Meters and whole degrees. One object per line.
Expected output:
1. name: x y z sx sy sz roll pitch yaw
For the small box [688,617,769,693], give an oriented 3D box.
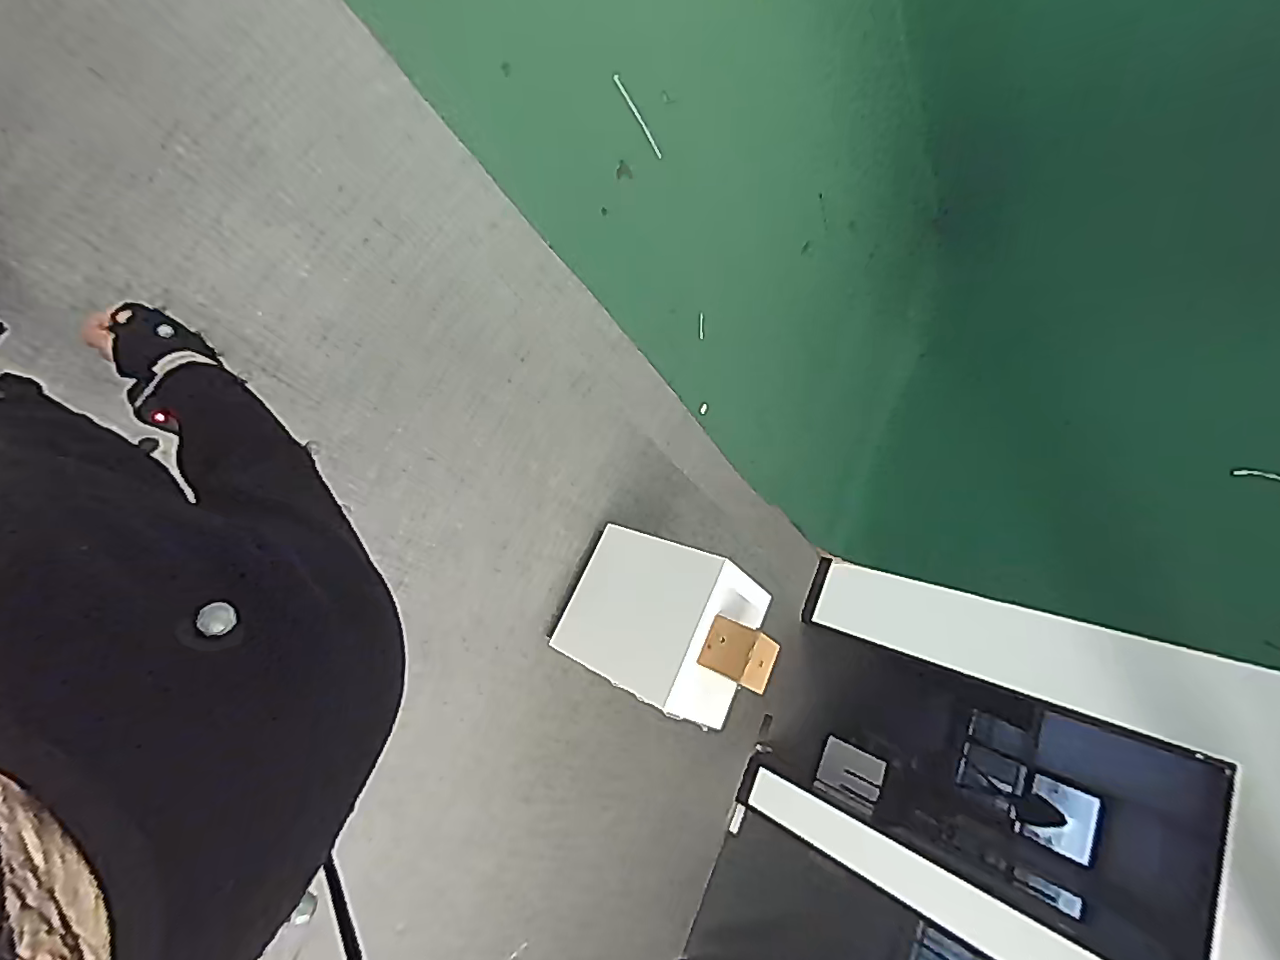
1. small box: 0.284 0.559 1.738 0.179 0.176 0.168 42 67 -46
